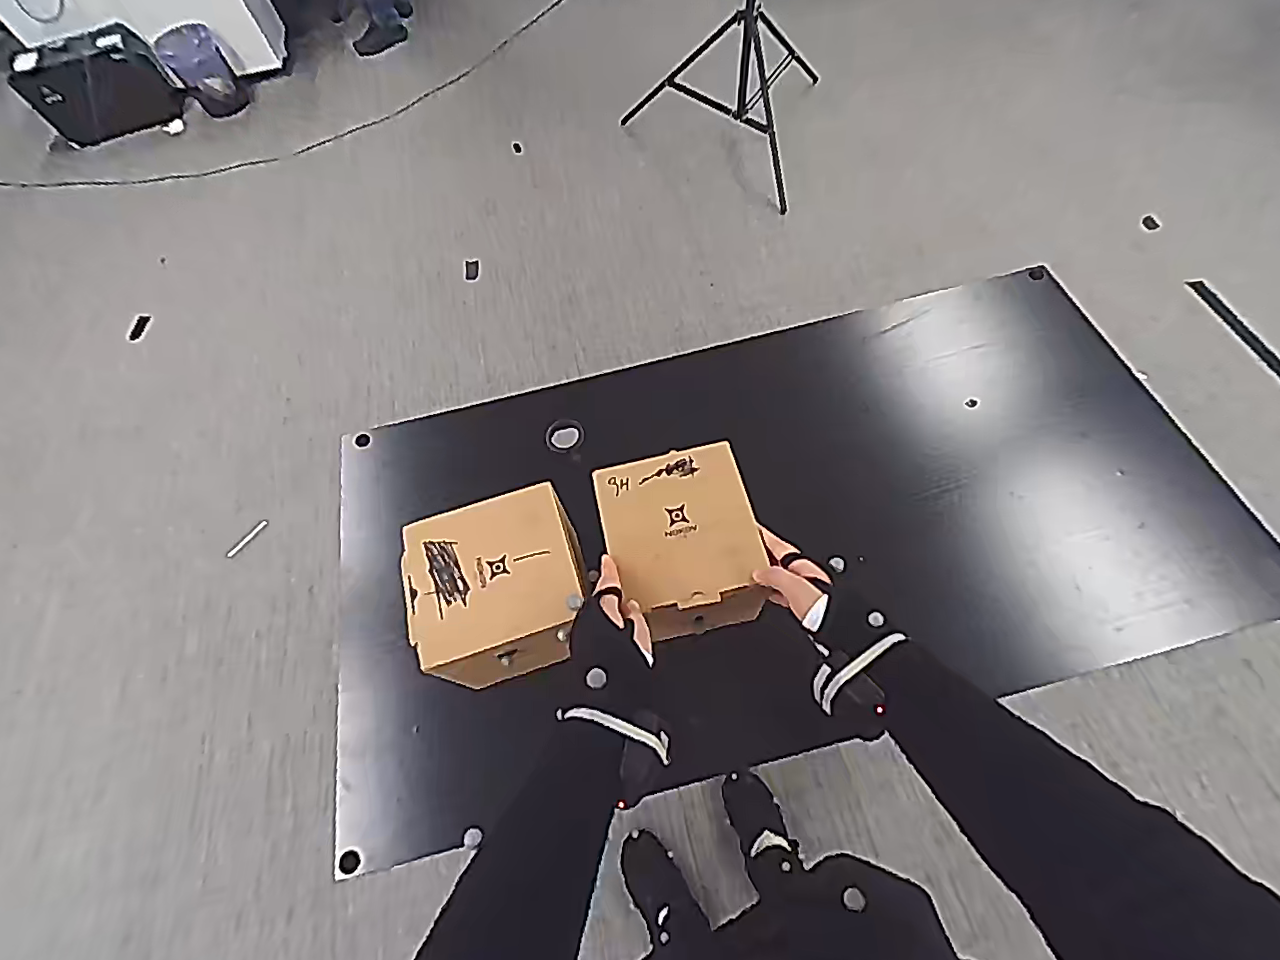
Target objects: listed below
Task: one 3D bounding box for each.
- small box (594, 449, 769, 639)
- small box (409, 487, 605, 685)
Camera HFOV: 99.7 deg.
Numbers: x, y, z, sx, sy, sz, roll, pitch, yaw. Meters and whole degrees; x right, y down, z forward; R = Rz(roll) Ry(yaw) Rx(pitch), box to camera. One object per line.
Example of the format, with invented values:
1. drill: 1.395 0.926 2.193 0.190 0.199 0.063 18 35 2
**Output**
1. small box: 0.046 0.089 0.669 0.168 0.176 0.179 -12 63 -3
2. small box: -0.154 0.138 0.662 0.179 0.176 0.168 -18 63 -5
